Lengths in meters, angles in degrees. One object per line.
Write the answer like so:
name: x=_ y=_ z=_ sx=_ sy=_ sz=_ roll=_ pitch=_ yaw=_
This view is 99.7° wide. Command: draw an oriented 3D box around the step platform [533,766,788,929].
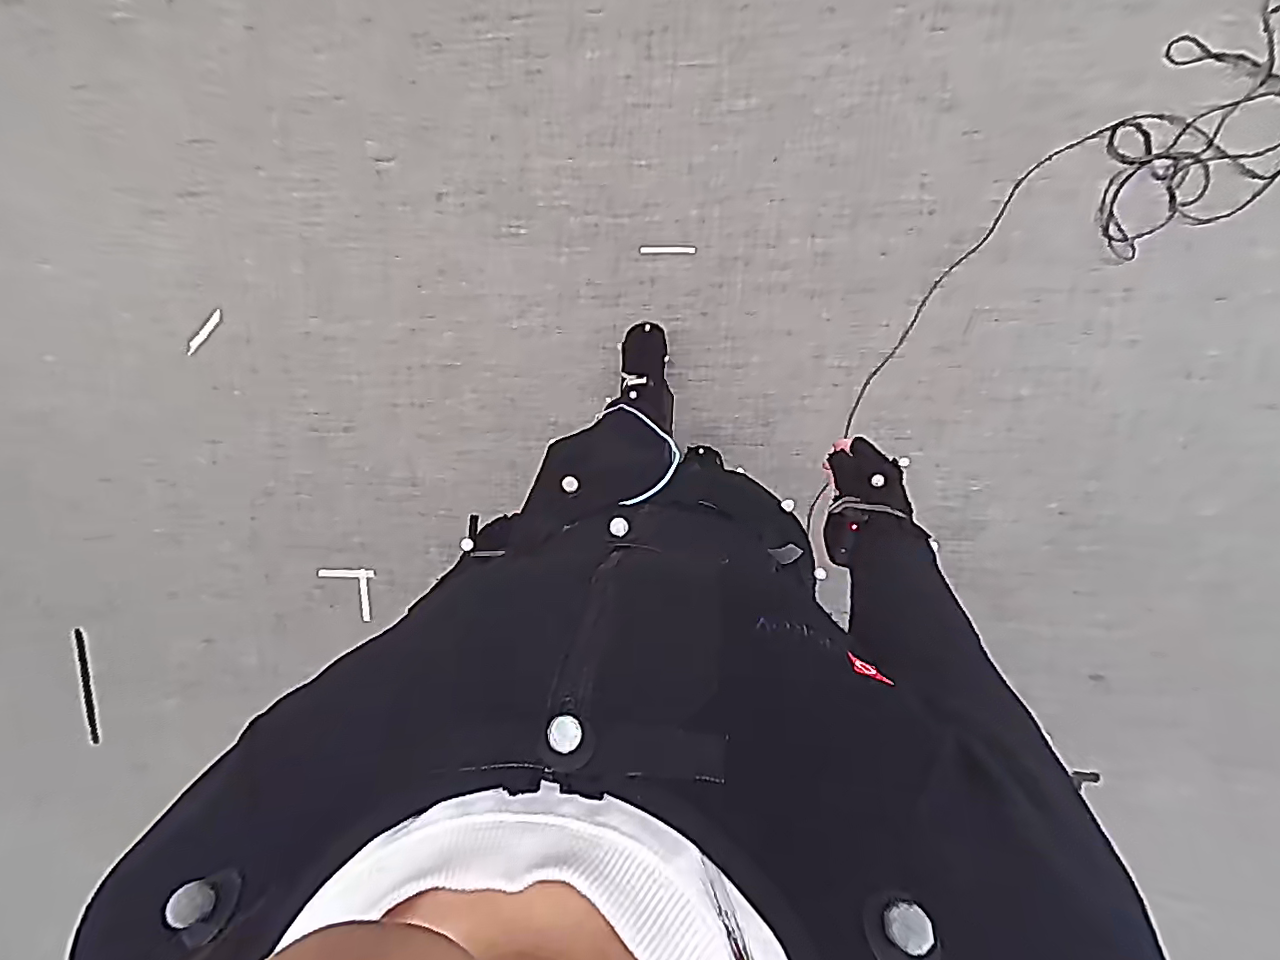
step platform: x=0.052 y=0.995 z=1.479 sx=0.684 sy=0.204 sz=0.286 roll=1 pitch=98 yaw=8
